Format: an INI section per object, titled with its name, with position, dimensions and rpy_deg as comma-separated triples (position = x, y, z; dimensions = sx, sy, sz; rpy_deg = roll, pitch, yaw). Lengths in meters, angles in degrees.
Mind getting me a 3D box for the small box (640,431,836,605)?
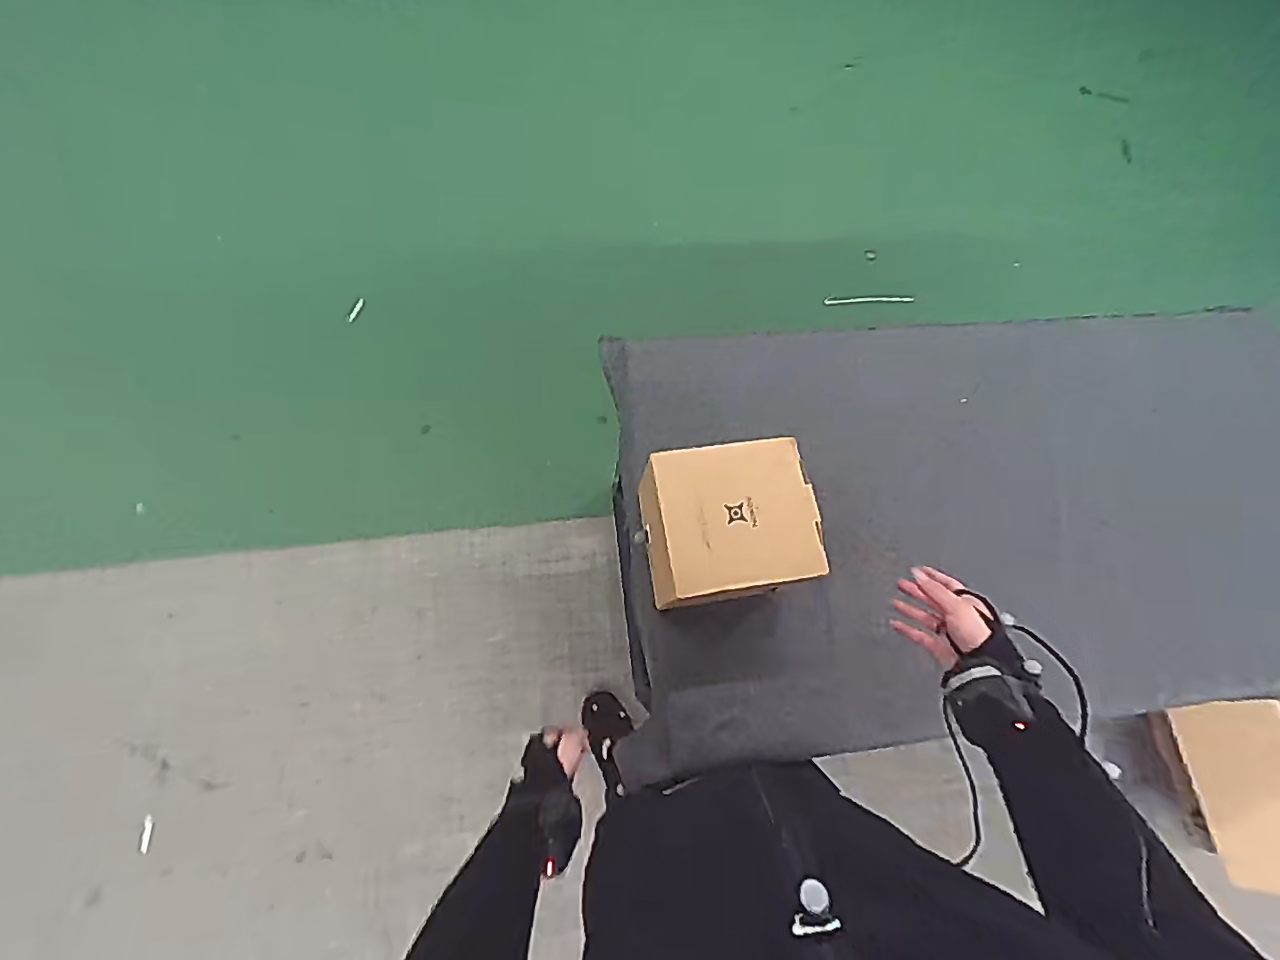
[small box]
position = 0.104, 0.053, 0.659
dimensions = 0.179, 0.176, 0.168
rpy_deg = -8, 74, -7
